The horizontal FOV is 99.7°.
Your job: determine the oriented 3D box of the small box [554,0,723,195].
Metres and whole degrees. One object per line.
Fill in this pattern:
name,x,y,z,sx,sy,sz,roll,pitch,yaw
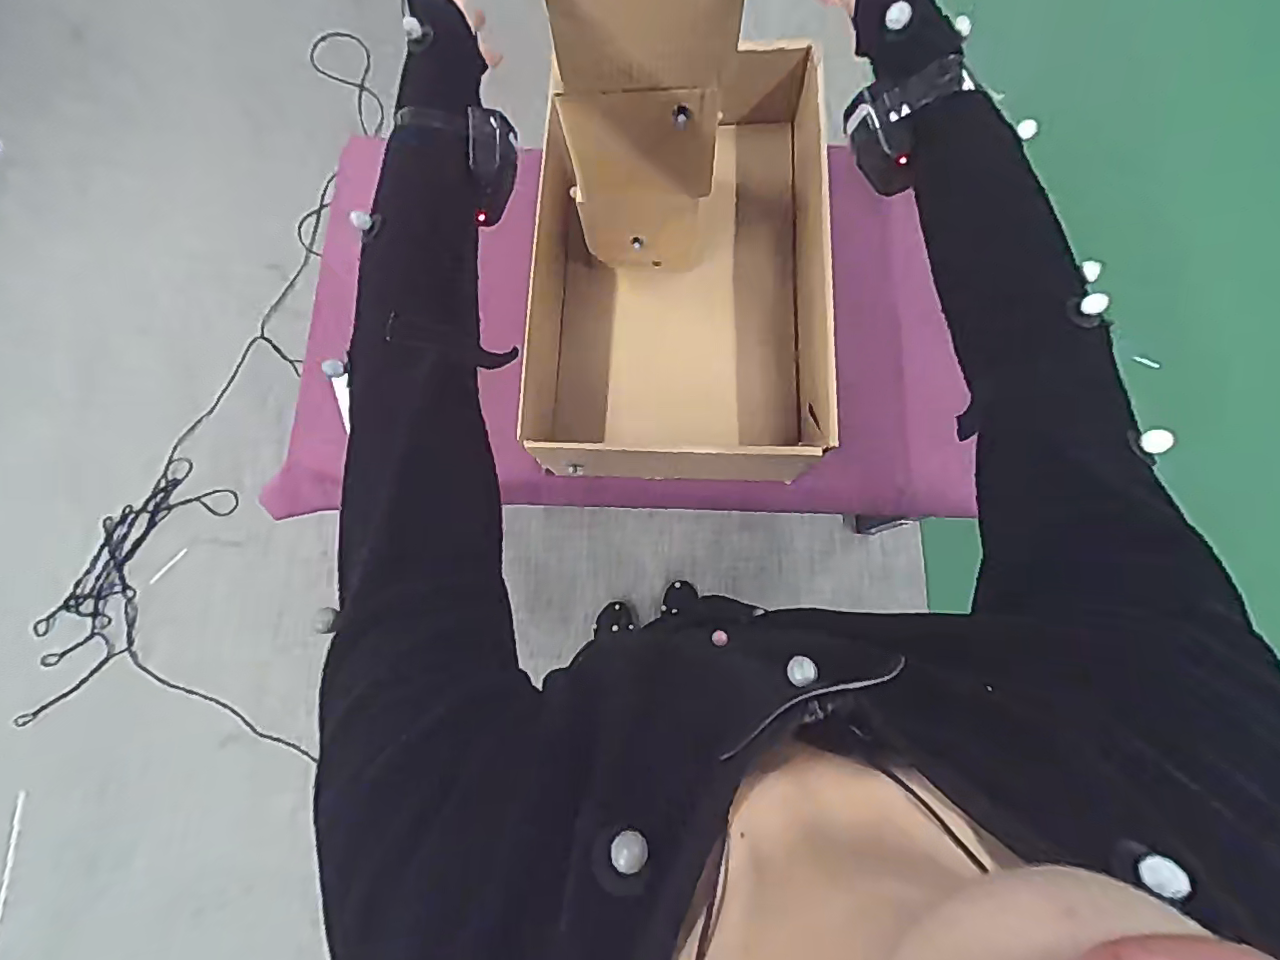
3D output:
small box,0.005,-0.465,0.641,0.179,0.176,0.168,0,80,4

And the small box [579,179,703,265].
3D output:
small box,0.010,-0.439,0.800,0.168,0.176,0.179,2,80,4
